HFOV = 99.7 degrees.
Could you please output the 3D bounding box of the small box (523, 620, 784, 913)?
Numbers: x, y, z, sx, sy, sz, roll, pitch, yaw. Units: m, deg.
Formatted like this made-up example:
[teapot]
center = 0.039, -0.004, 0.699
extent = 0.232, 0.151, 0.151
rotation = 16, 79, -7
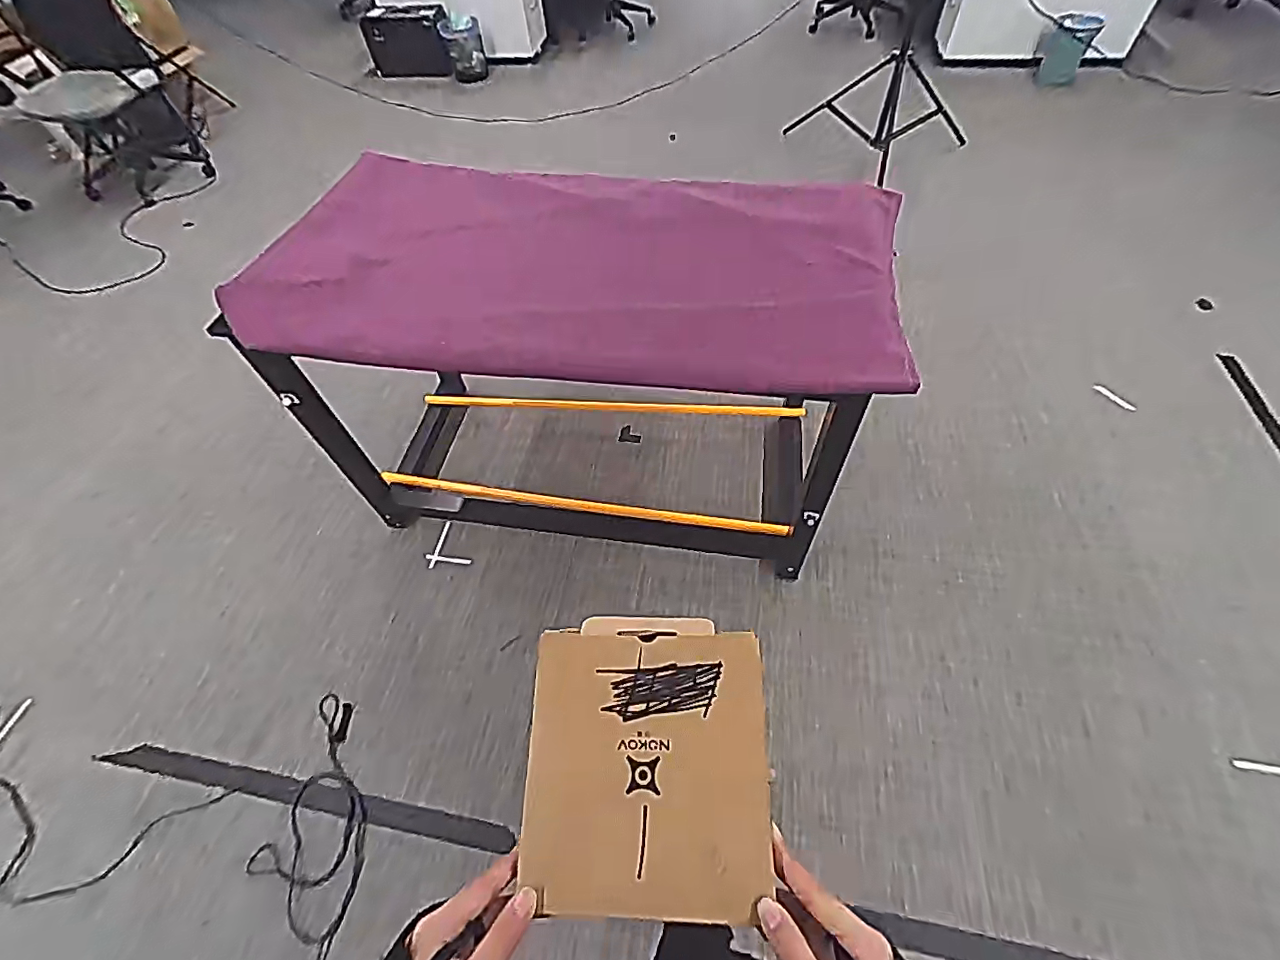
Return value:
[small box]
center = 0.016, 0.222, 0.442
extent = 0.168, 0.176, 0.179
rotation = -1, 63, 5
